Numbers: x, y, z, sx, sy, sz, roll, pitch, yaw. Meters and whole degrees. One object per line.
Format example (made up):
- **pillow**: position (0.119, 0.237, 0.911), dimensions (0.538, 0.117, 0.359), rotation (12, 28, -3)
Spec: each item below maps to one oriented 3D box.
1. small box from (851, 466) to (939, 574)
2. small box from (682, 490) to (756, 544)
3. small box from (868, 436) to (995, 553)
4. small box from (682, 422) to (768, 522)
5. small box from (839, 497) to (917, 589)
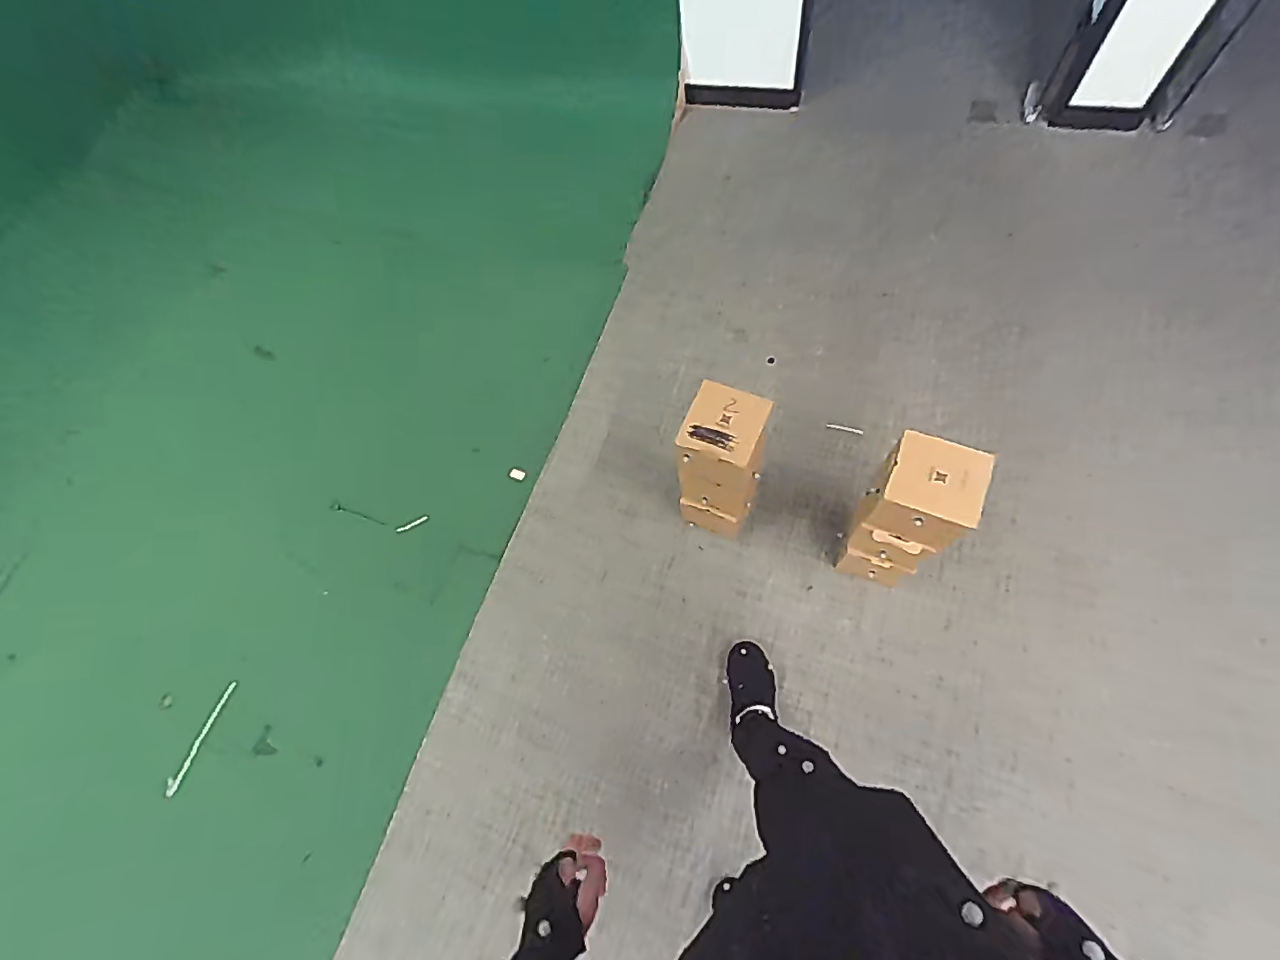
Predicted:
- **small box**: position (0.618, 0.099, 1.287), dimensions (0.168, 0.176, 0.179), rotation (21, 71, 18)
- **small box**: position (0.234, 0.065, 1.561), dimensions (0.168, 0.176, 0.179), rotation (19, 71, 16)
- **small box**: position (0.601, 0.037, 1.137), dimensions (0.179, 0.176, 0.168), rotation (21, 72, 17)
- **small box**: position (0.218, -0.017, 1.403), dimensions (0.168, 0.176, 0.179), rotation (20, 71, 16)
- **small box**: position (0.638, 0.173, 1.433), dimensions (0.168, 0.176, 0.179), rotation (17, 71, 15)
